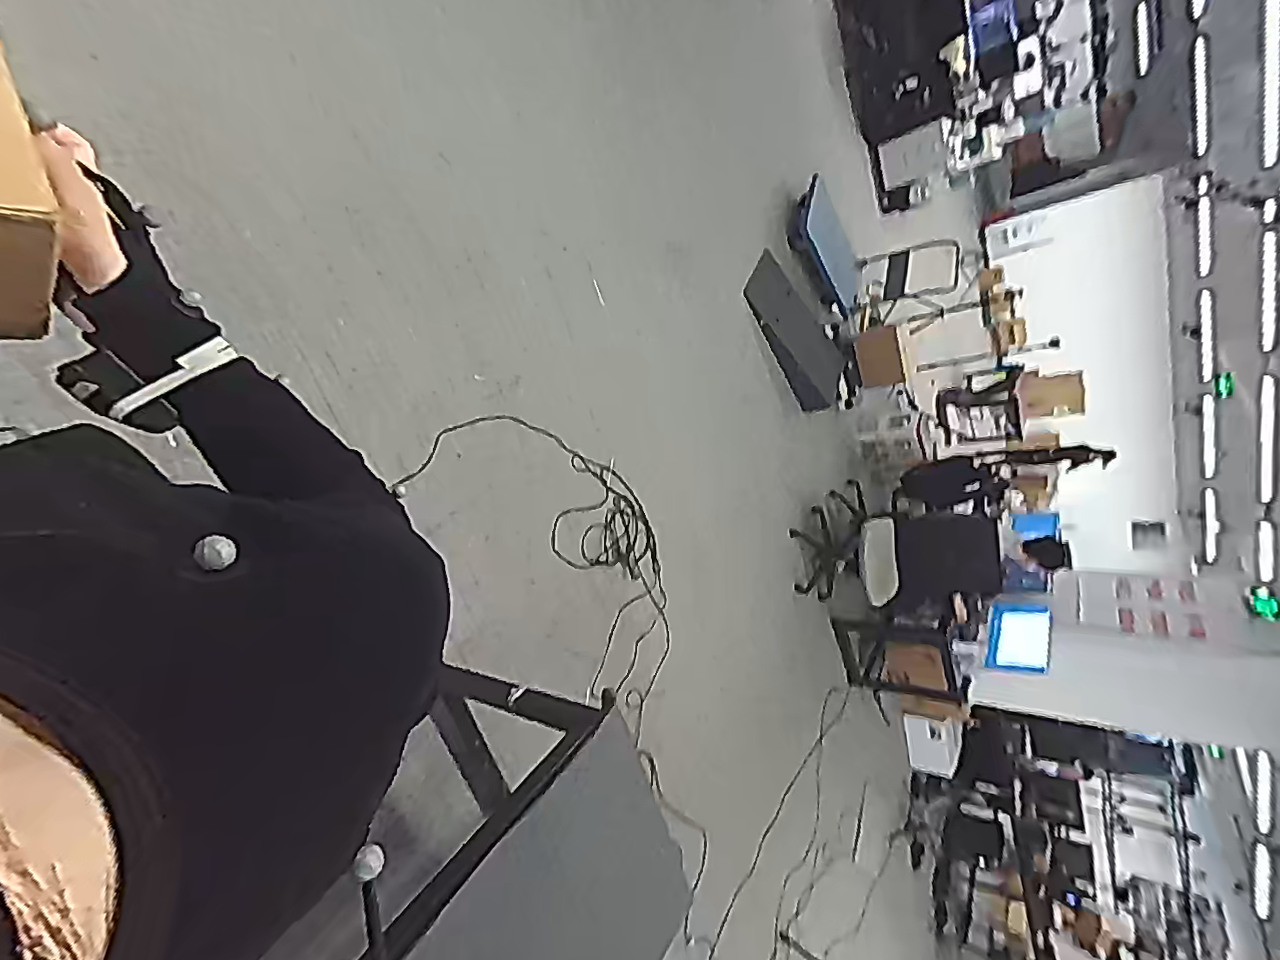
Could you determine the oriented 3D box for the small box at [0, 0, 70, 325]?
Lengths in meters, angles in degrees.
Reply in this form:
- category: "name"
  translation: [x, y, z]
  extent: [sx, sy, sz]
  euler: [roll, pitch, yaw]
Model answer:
- category: "small box"
  translation: [-0.415, -0.188, 0.251]
  extent: [0.168, 0.176, 0.179]
  euler: [-19, 95, -52]
